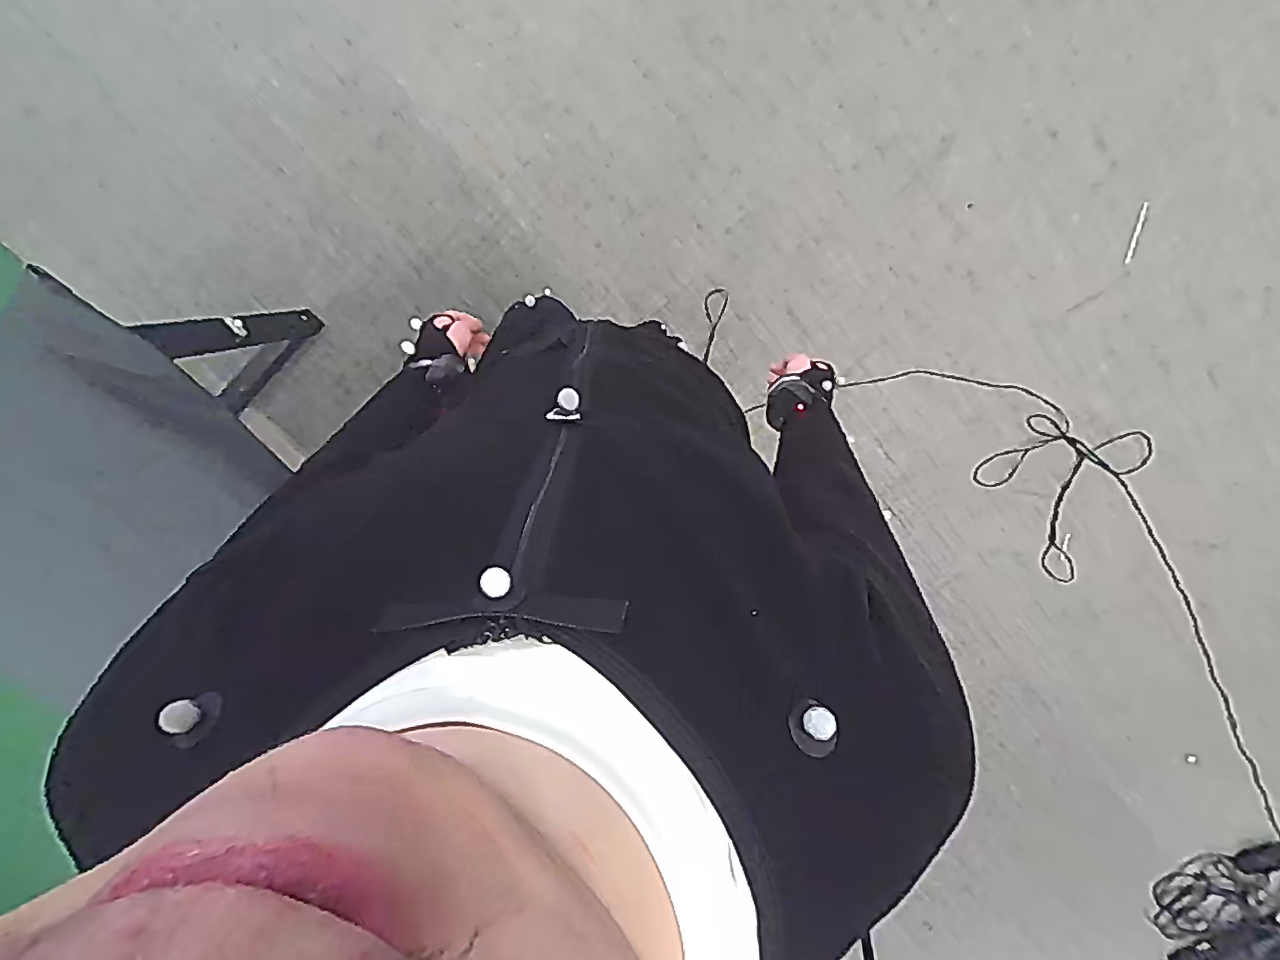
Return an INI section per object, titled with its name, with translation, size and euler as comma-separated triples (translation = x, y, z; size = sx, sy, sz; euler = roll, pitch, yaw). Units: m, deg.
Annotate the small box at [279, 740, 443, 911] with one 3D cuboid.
[small box]
translation = -0.482, 0.612, 0.973
size = 0.179, 0.176, 0.168
euler = -37, 104, 14
